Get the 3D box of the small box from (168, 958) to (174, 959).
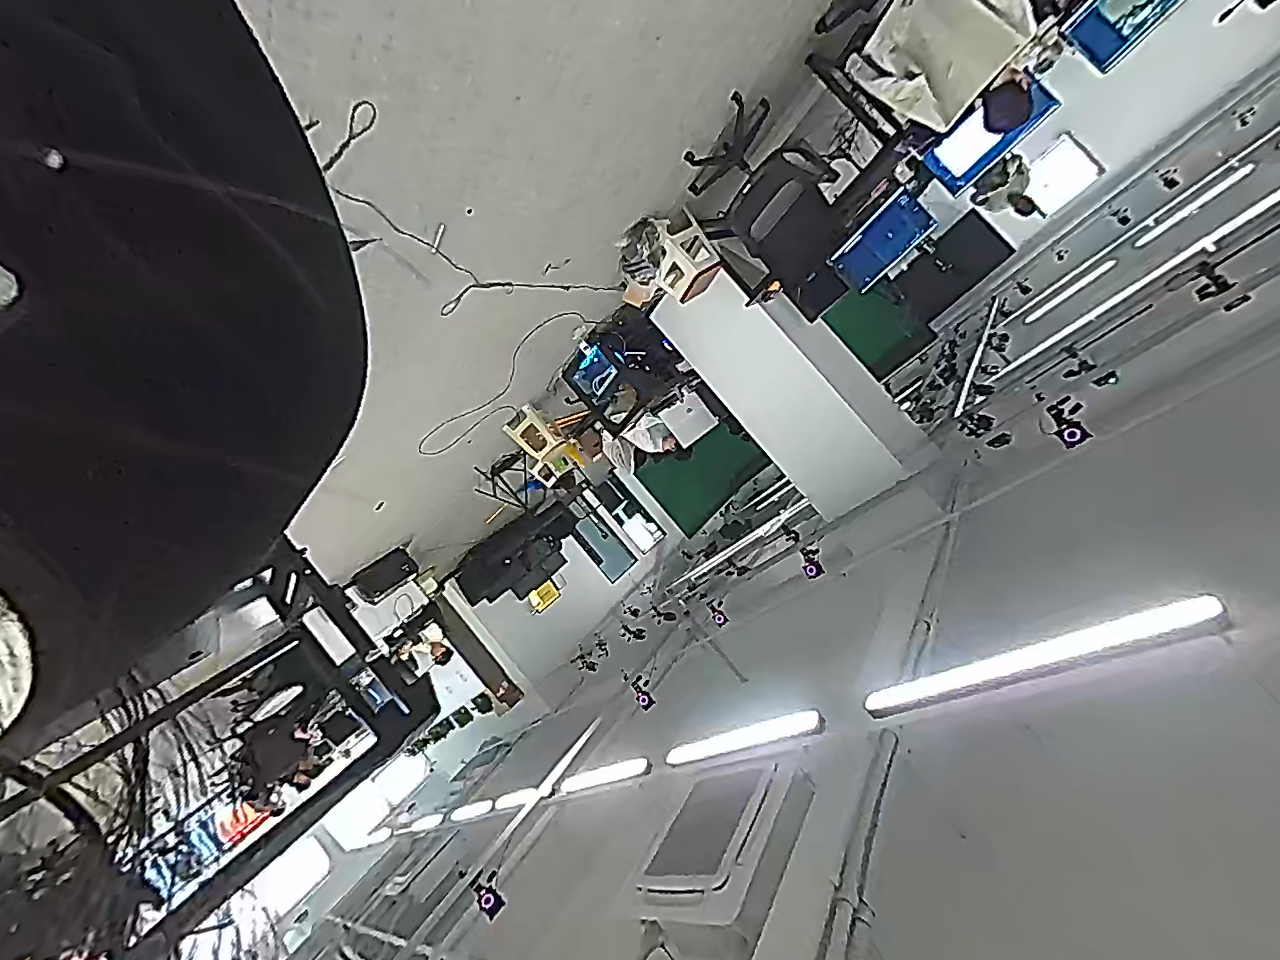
[{"bbox_3d":[-1.176,1.301,1.300,0.179,0.176,0.168,-43,177,41],"label":"small box"}]
